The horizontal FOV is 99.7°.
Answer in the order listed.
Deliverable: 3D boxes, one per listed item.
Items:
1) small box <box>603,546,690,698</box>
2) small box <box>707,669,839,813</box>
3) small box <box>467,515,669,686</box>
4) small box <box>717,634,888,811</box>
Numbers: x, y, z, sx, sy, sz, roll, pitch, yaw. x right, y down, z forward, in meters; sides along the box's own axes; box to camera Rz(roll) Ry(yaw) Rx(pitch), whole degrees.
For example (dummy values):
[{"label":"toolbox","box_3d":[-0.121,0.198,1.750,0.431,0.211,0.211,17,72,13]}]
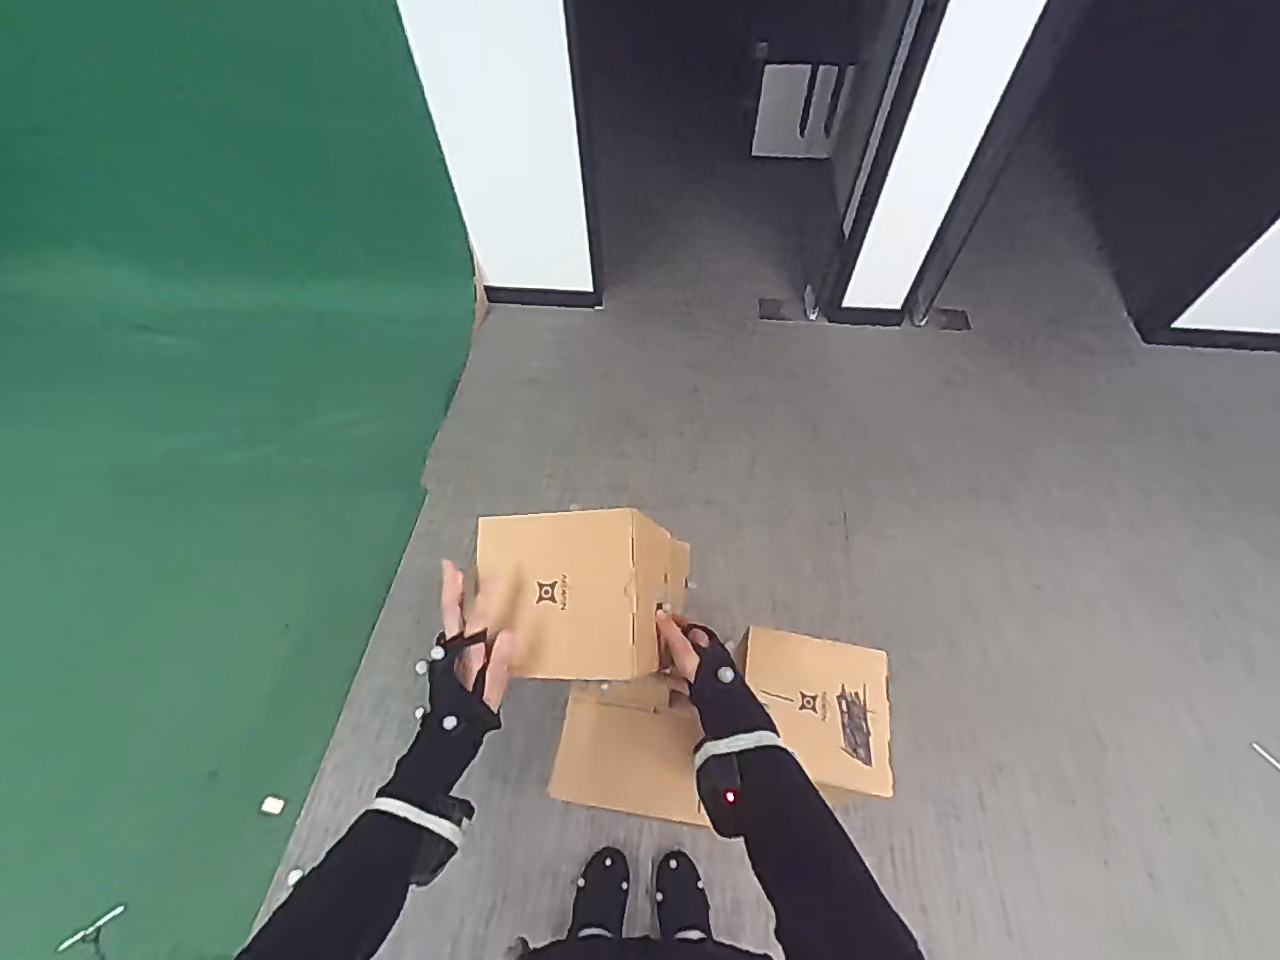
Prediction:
[{"label":"small box","box_3d":[-0.025,0.200,0.800,0.168,0.176,0.179,10,58,10]},{"label":"small box","box_3d":[0.203,0.413,0.848,0.179,0.176,0.168,9,59,7]},{"label":"small box","box_3d":[-0.070,0.140,0.617,0.179,0.176,0.168,-5,74,14]},{"label":"small box","box_3d":[0.206,0.322,0.712,0.179,0.176,0.168,10,57,7]}]
